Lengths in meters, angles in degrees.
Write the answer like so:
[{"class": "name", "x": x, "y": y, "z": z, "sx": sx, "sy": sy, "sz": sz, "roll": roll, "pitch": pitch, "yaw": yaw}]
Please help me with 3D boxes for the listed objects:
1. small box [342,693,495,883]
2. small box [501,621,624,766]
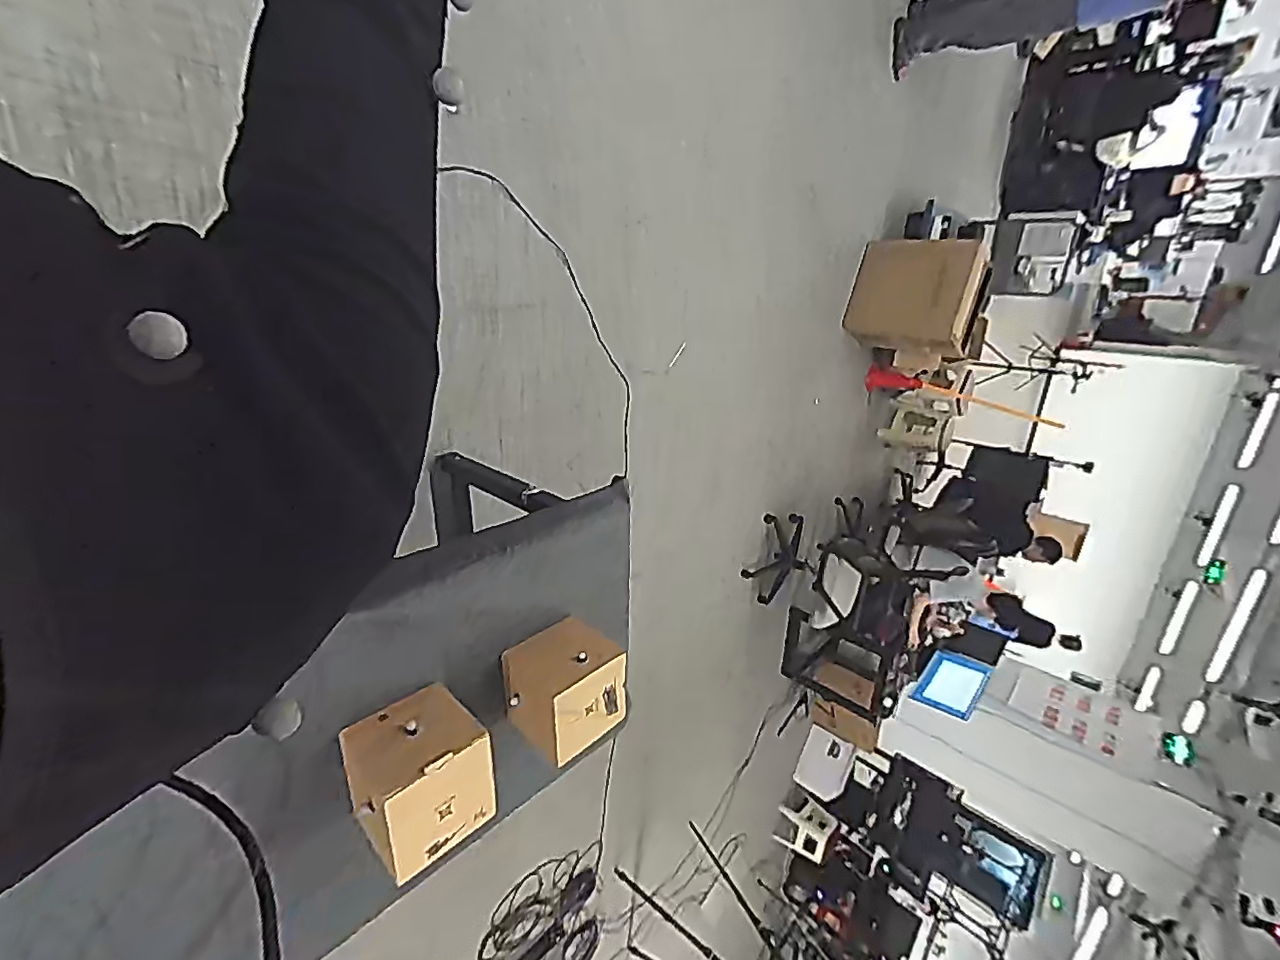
[{"class": "small box", "x": -0.353, "y": 0.471, "z": 0.864, "sx": 0.168, "sy": 0.176, "sz": 0.179, "roll": -18, "pitch": 118, "yaw": -44}, {"class": "small box", "x": -0.151, "y": 0.407, "z": 1.067, "sx": 0.179, "sy": 0.176, "sz": 0.168, "roll": -20, "pitch": 119, "yaw": -42}]
